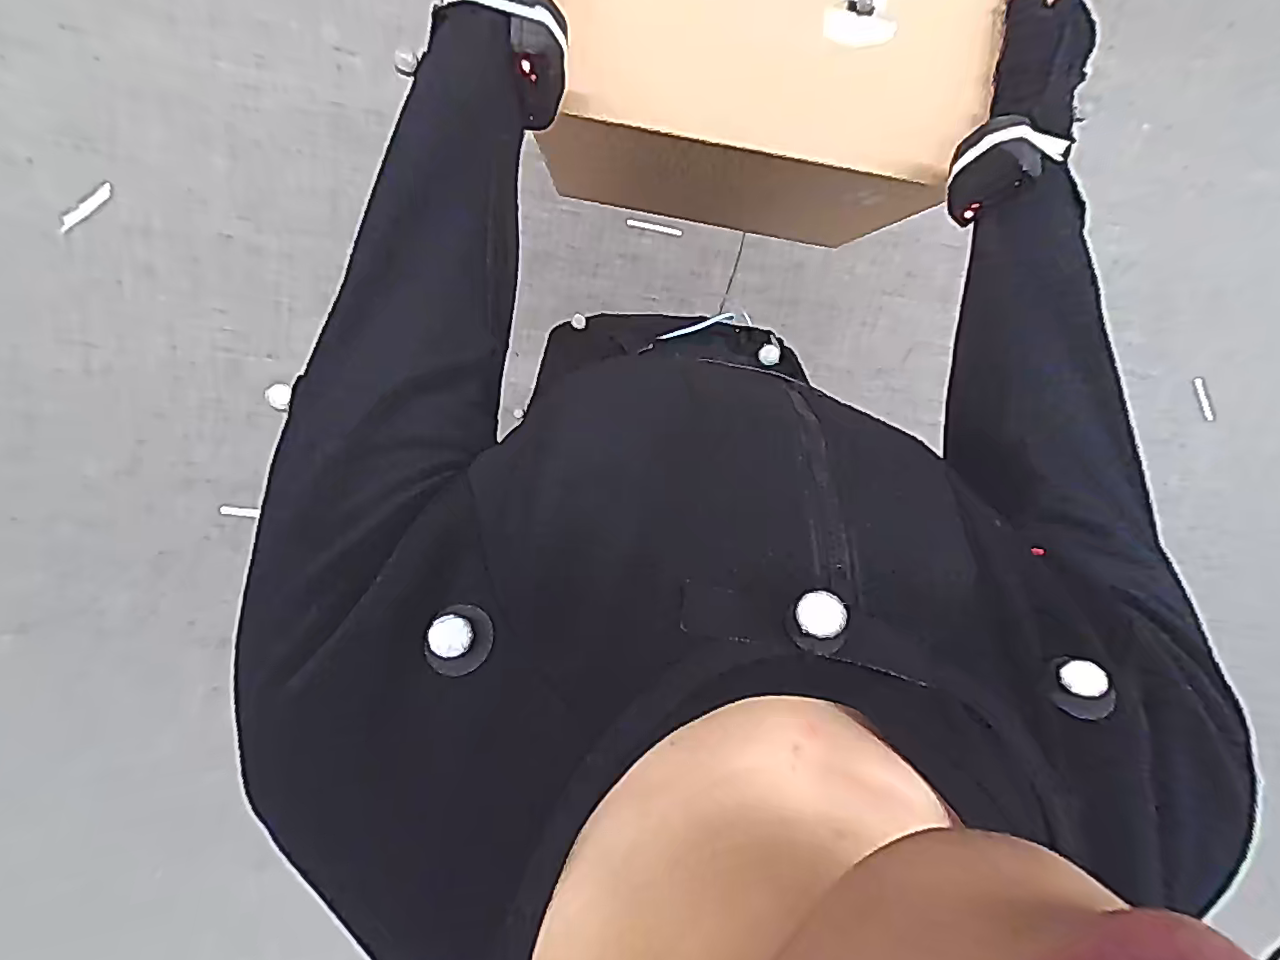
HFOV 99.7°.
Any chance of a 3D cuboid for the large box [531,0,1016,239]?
[{"bbox_3d":[0.115,-0.480,0.582,0.408,0.320,0.320,9,105,-5],"label":"large box"}]
